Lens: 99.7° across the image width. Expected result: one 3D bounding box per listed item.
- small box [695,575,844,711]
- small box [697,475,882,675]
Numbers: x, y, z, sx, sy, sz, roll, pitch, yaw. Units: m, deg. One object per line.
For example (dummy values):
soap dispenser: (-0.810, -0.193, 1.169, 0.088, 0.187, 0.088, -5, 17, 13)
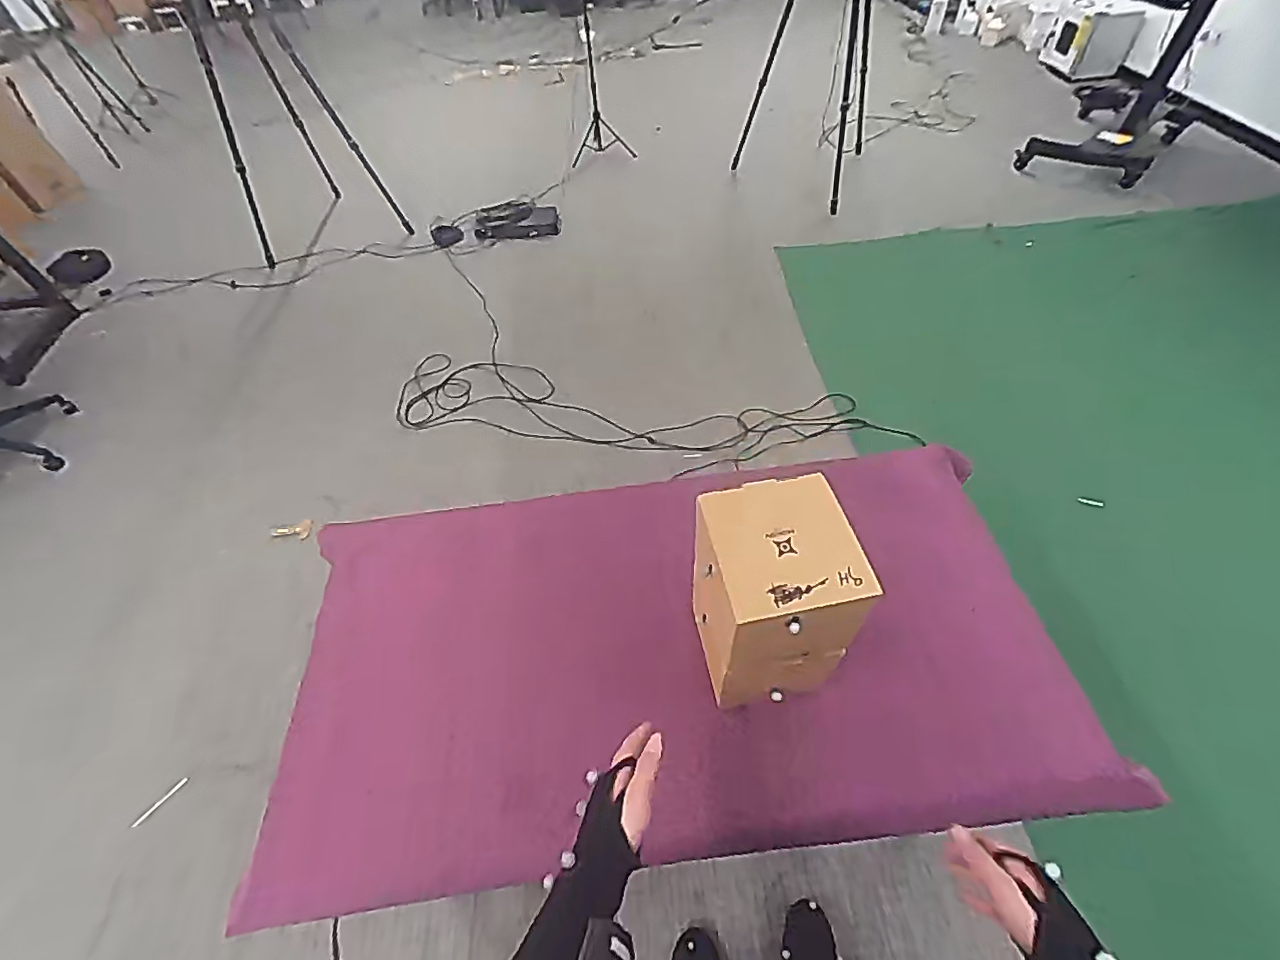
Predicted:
small box: (0.179, 0.224, 0.814, 0.168, 0.176, 0.179, -10, 52, -3)
small box: (0.169, 0.122, 0.685, 0.168, 0.176, 0.179, -10, 51, -3)
